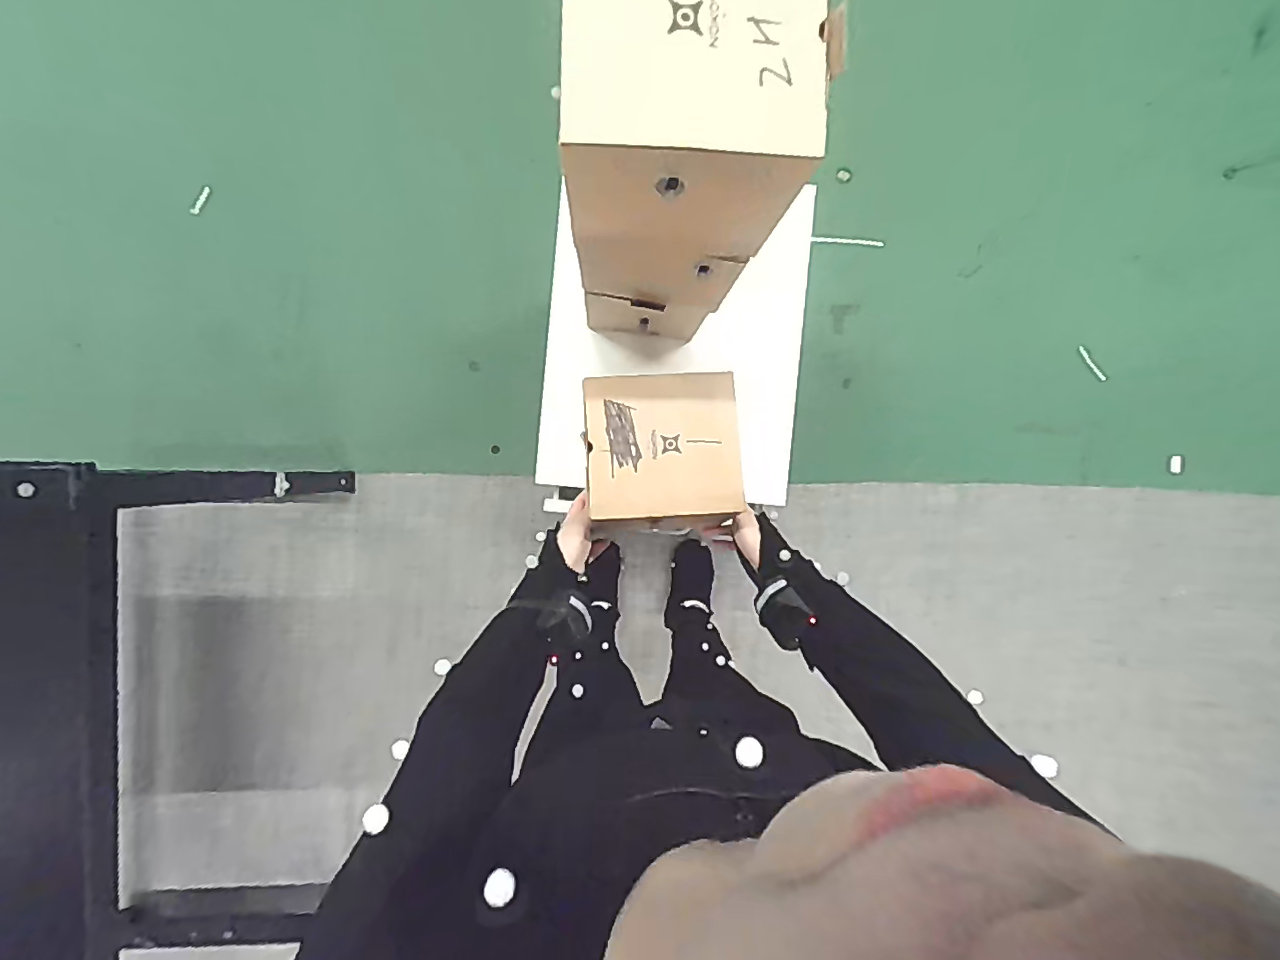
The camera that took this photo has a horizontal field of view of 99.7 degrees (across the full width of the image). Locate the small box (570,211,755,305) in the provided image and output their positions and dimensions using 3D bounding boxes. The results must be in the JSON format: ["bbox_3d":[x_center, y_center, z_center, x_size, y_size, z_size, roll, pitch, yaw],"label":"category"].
[{"bbox_3d":[0.028,-0.302,0.581,0.179,0.176,0.168,8,91,-4],"label":"small box"}]

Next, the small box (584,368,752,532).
[{"bbox_3d":[0.028,-0.027,0.665,0.179,0.176,0.168,-3,81,-2],"label":"small box"}]

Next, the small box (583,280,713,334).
[{"bbox_3d":[0.017,-0.309,0.743,0.168,0.176,0.179,6,92,-3],"label":"small box"}]

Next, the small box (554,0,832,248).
[{"bbox_3d":[0.031,-0.293,0.416,0.179,0.176,0.168,1,92,-4],"label":"small box"}]
